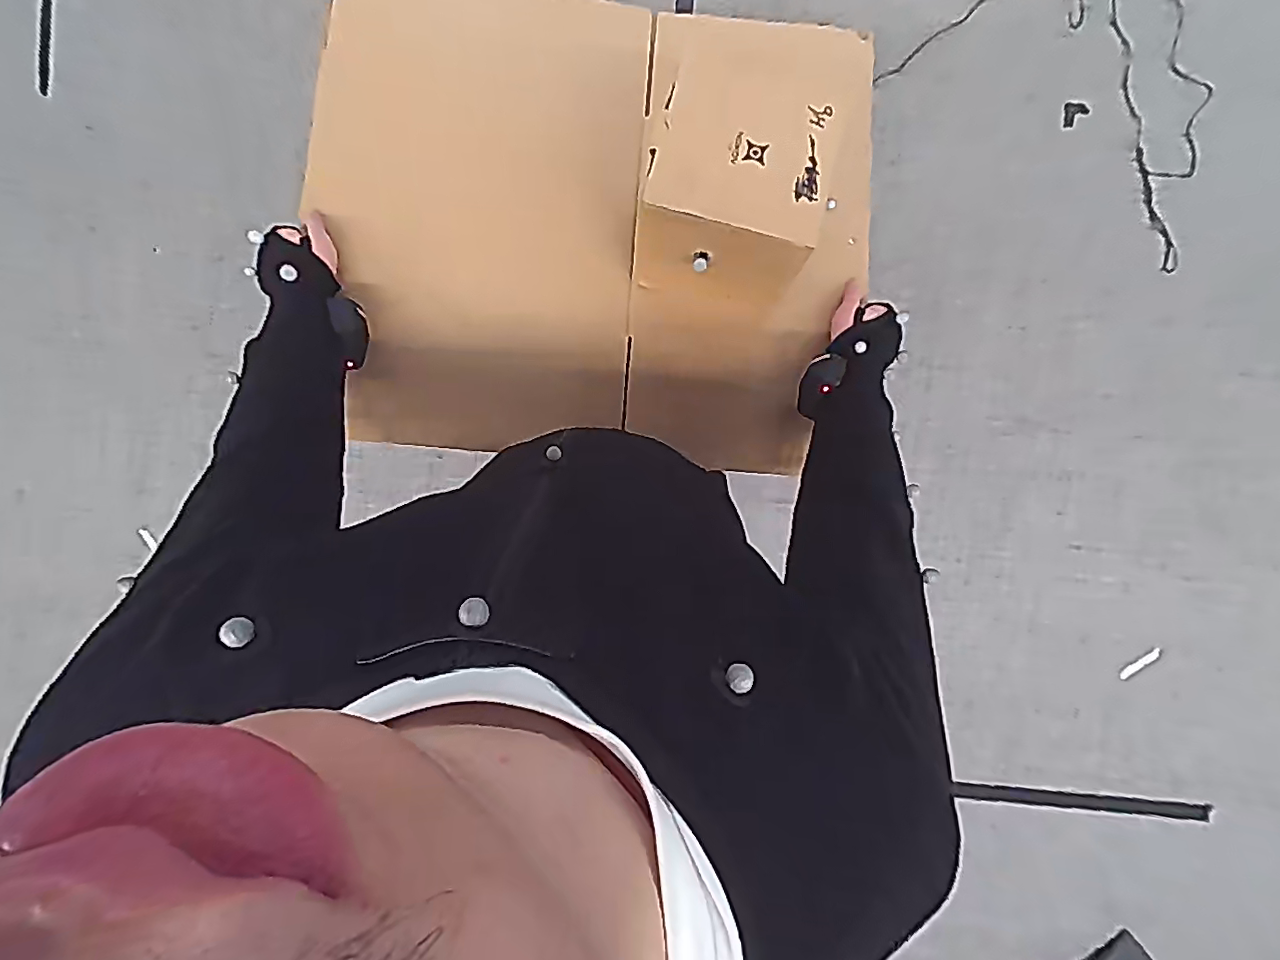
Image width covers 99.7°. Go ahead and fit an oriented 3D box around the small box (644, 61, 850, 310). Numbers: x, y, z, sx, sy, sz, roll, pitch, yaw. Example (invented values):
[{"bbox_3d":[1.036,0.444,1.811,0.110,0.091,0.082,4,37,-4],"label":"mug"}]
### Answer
[{"bbox_3d":[0.107,-0.315,0.613,0.179,0.176,0.168,15,84,1],"label":"small box"}]
